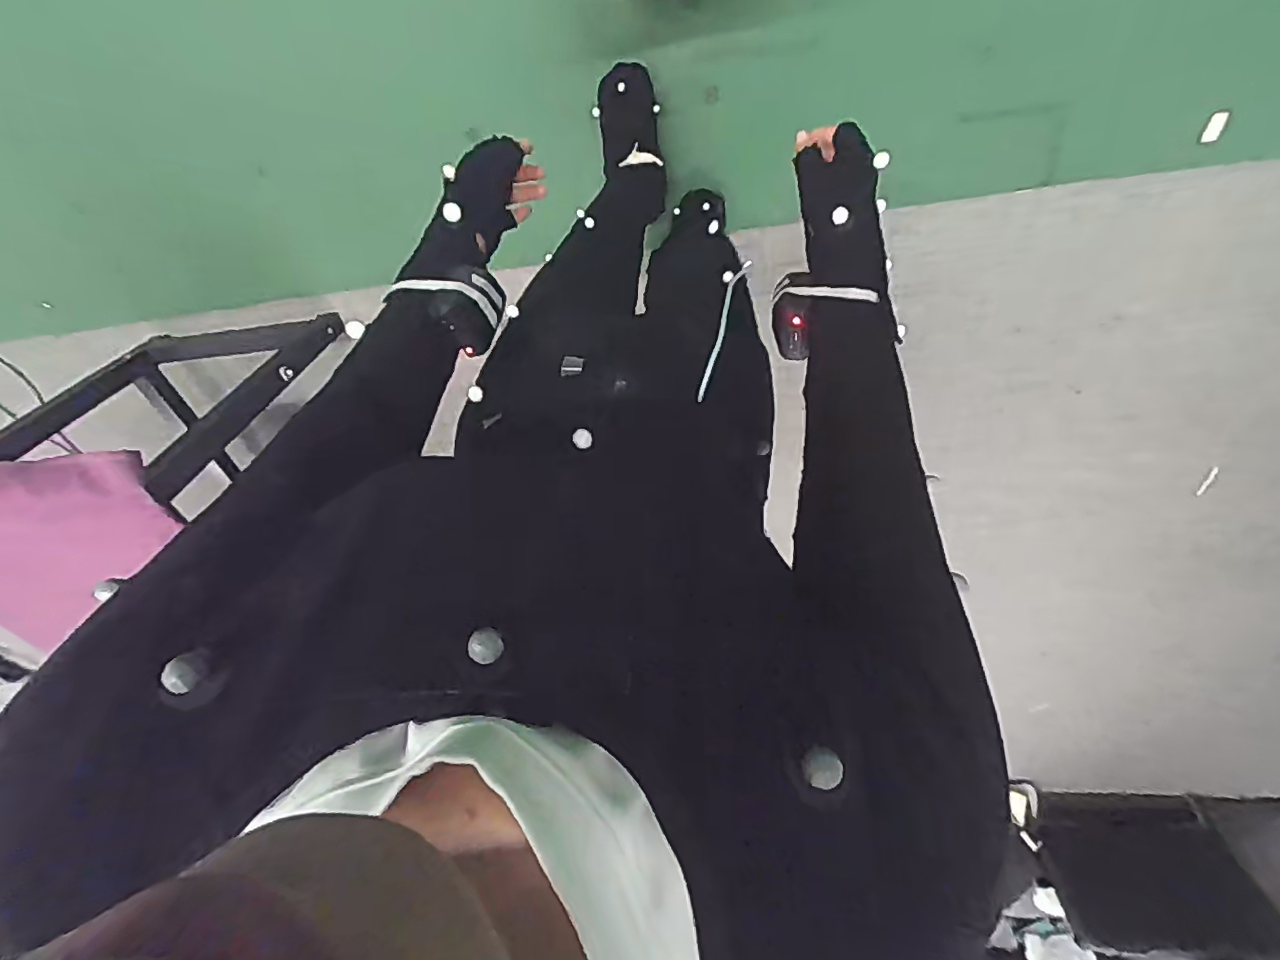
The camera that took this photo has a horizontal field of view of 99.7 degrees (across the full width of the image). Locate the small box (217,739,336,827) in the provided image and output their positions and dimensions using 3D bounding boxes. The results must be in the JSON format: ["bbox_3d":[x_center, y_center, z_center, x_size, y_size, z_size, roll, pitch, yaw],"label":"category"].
[{"bbox_3d":[-0.988,0.828,1.488,0.179,0.176,0.168,-3,131,8],"label":"small box"}]
